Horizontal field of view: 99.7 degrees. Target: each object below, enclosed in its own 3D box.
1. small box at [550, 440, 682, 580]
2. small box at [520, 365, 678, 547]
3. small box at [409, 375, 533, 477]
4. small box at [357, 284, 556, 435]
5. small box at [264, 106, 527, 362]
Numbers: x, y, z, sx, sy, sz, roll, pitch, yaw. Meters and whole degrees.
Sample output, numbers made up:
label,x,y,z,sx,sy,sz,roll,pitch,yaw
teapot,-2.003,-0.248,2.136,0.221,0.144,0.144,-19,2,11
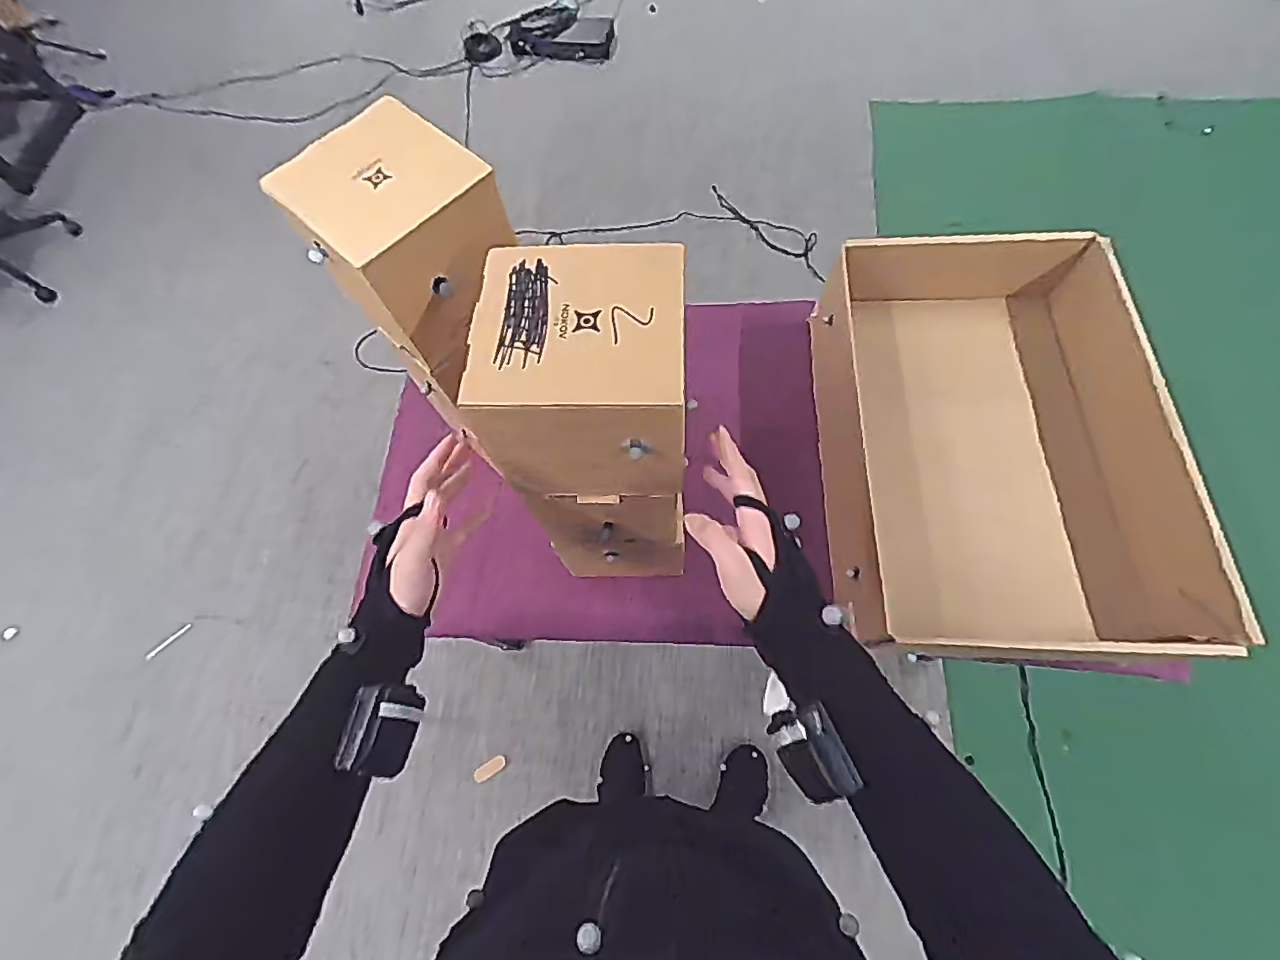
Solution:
label,x,y,z,sx,sy,sz,roll,pitch,yaw
small box,-0.027,0.051,0.810,0.179,0.176,0.168,-2,66,3
small box,-0.037,-0.020,0.663,0.168,0.176,0.179,0,66,3
small box,-0.237,-0.127,0.901,0.179,0.176,0.168,41,74,18
small box,-0.240,-0.195,0.753,0.168,0.176,0.179,42,75,17
small box,-0.253,-0.260,0.605,0.179,0.176,0.168,40,75,17
